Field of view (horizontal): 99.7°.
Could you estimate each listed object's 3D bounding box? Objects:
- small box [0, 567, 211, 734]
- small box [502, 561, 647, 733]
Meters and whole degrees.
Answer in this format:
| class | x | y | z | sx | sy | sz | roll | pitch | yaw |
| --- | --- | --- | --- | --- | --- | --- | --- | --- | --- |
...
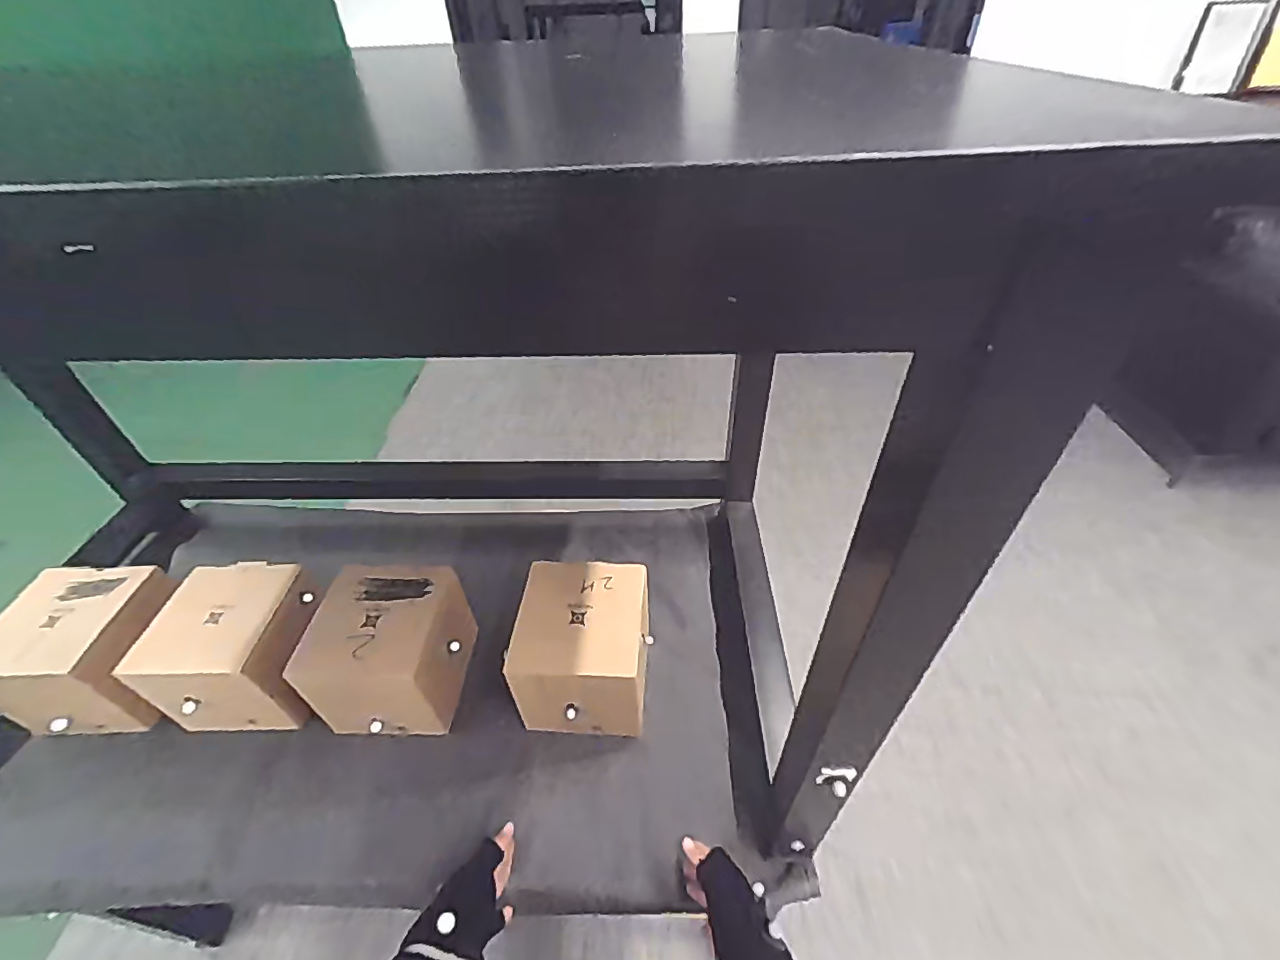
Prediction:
| class | x | y | z | sx | sy | sz | roll | pitch | yaw |
| --- | --- | --- | --- | --- | --- | --- | --- | --- | --- |
| small box | -0.787 | 0.249 | 0.796 | 0.168 | 0.176 | 0.179 | -2 | 42 | 1 |
| small box | -0.078 | 0.237 | 0.766 | 0.168 | 0.176 | 0.179 | 2 | 42 | 5 |
